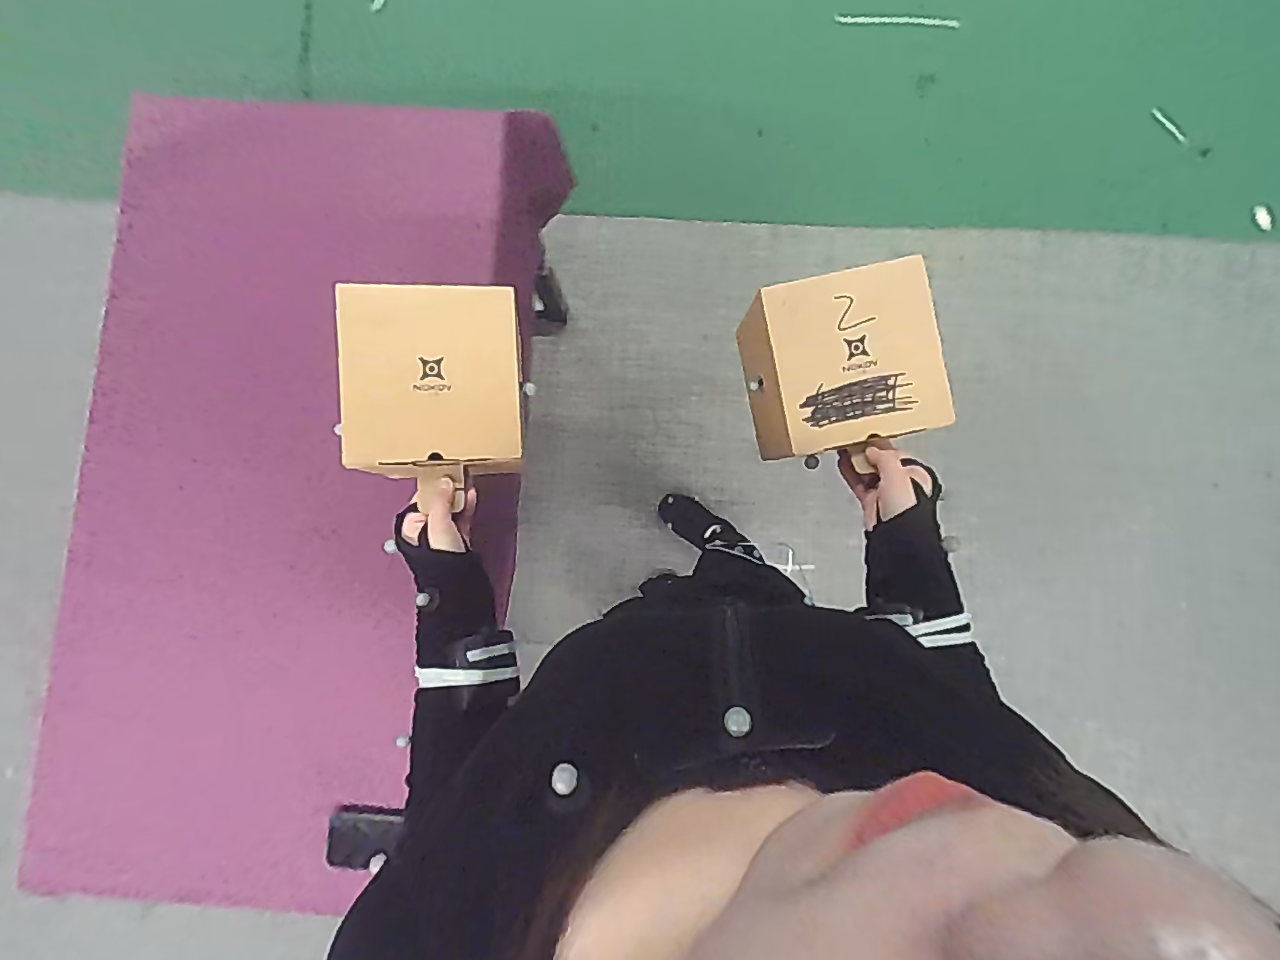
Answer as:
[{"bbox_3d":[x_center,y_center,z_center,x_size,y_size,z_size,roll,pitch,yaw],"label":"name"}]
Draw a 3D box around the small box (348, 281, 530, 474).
[{"bbox_3d":[-0.210,-0.099,0.599,0.168,0.176,0.179,-2,89,-12],"label":"small box"}]
